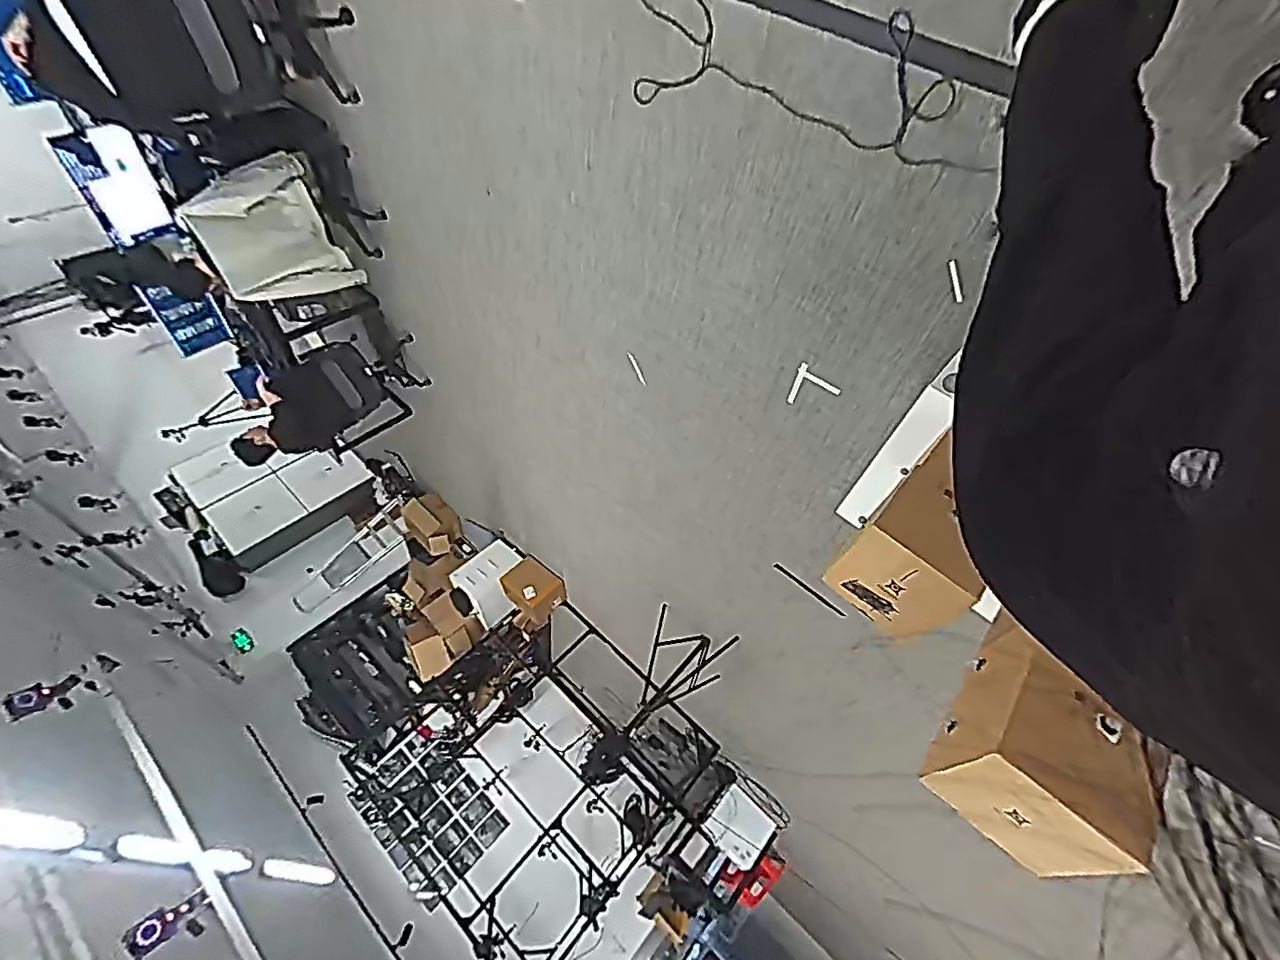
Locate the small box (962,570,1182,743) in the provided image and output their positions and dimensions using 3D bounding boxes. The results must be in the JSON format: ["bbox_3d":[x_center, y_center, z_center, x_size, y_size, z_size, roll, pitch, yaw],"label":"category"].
[{"bbox_3d":[0.605,0.260,0.763,0.168,0.176,0.179,38,148,20],"label":"small box"}]

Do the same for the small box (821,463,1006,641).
[{"bbox_3d":[0.422,0.110,0.838,0.168,0.176,0.179,39,146,18],"label":"small box"}]

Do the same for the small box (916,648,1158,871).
[{"bbox_3d":[0.495,0.349,0.683,0.168,0.176,0.179,37,146,20],"label":"small box"}]
